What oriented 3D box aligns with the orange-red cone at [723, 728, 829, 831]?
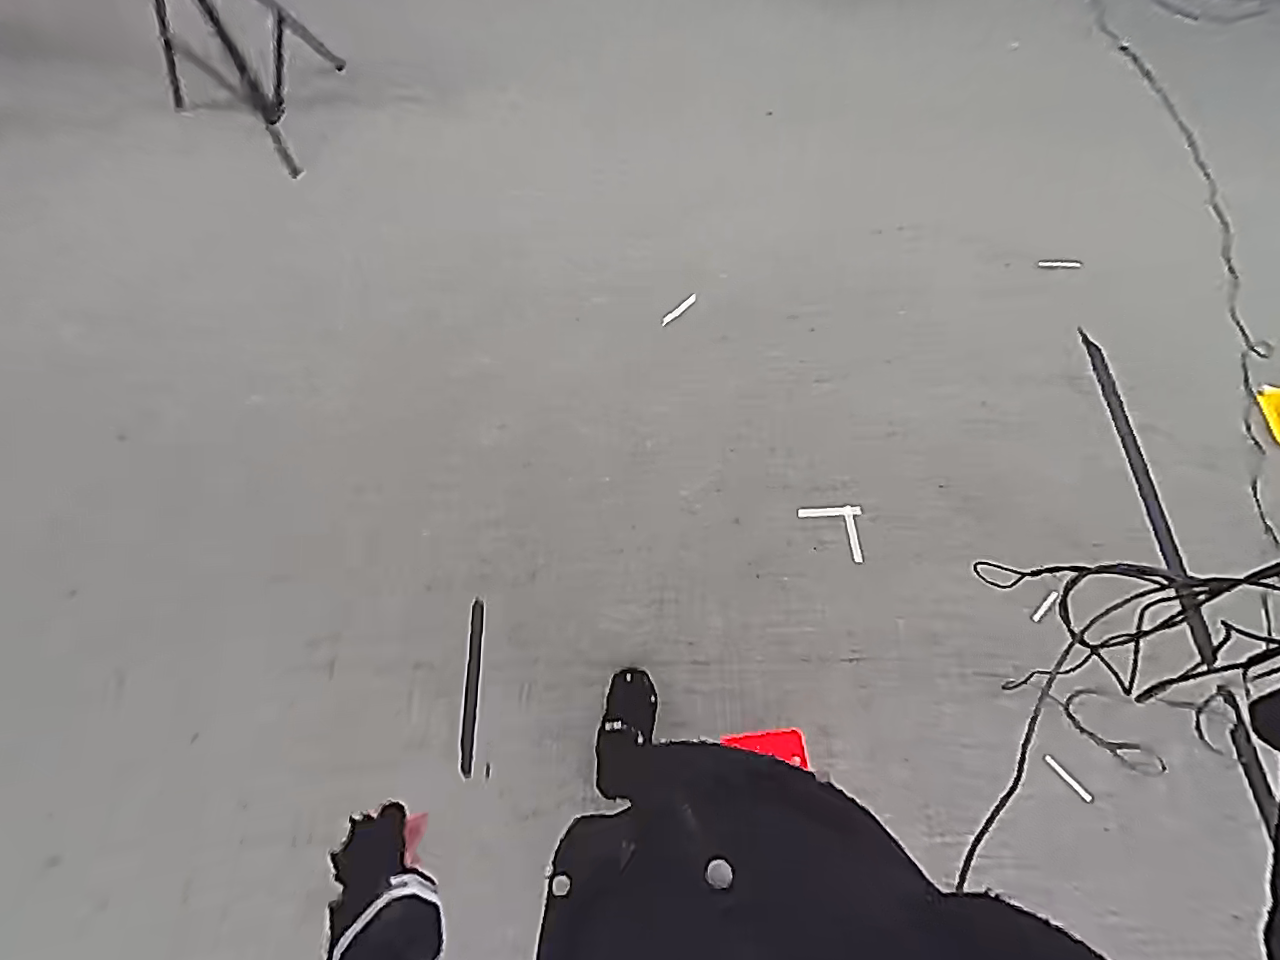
[{"bbox_3d":[0.294,0.607,1.057,0.198,0.360,0.199,-5,69,-3],"label":"orange-red cone"}]
